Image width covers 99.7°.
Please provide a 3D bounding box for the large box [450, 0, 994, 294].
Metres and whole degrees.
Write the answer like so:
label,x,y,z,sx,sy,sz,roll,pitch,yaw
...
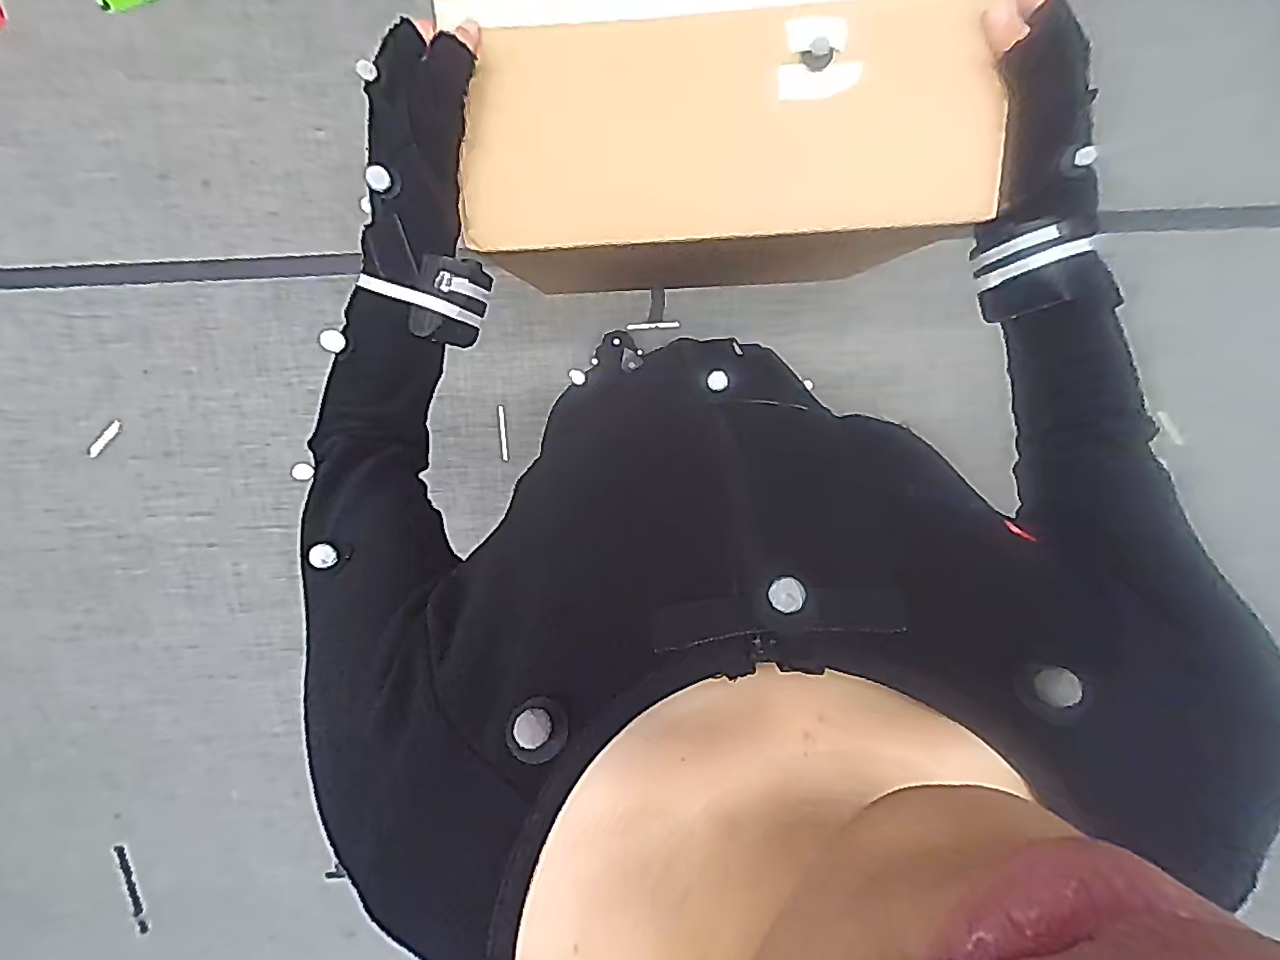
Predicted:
label,x,y,z,sx,sy,sz,roll,pitch,yaw
large box,0.058,-0.379,0.540,0.408,0.320,0.320,-3,103,1
